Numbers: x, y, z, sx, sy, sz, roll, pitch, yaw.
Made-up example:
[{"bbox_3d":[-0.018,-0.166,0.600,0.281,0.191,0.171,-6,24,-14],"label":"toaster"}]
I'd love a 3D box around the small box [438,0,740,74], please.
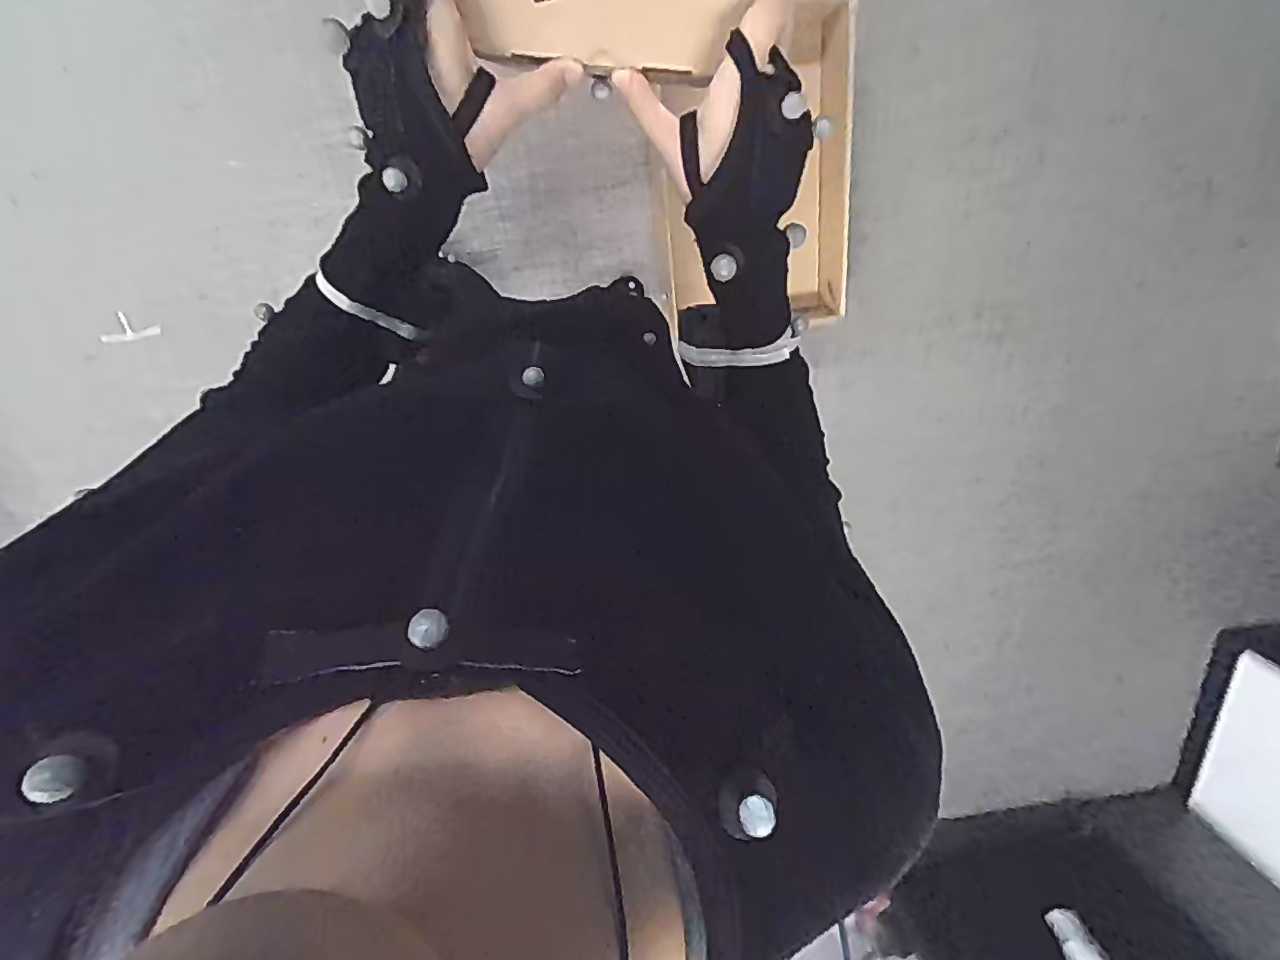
[{"bbox_3d":[-0.025,-0.362,0.321,0.168,0.176,0.179,2,125,-3],"label":"small box"}]
